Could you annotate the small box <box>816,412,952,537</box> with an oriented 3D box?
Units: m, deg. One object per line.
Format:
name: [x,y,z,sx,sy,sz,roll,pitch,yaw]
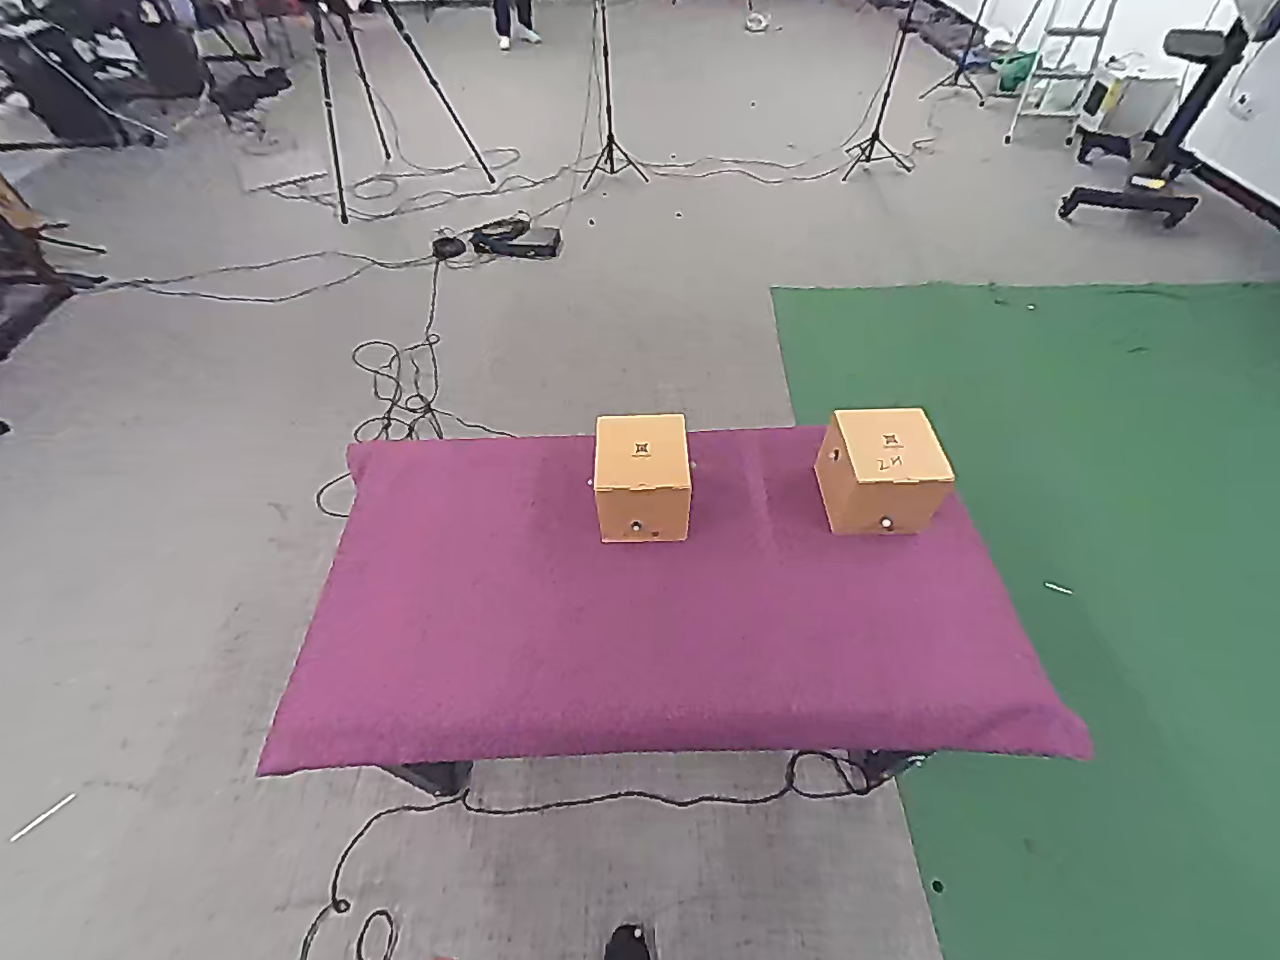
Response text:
small box: [0.443,-0.010,1.019,0.168,0.176,0.179,-1,52,1]

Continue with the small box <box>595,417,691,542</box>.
small box: [0.003,0.000,1.022,0.168,0.176,0.179,-1,53,-1]
